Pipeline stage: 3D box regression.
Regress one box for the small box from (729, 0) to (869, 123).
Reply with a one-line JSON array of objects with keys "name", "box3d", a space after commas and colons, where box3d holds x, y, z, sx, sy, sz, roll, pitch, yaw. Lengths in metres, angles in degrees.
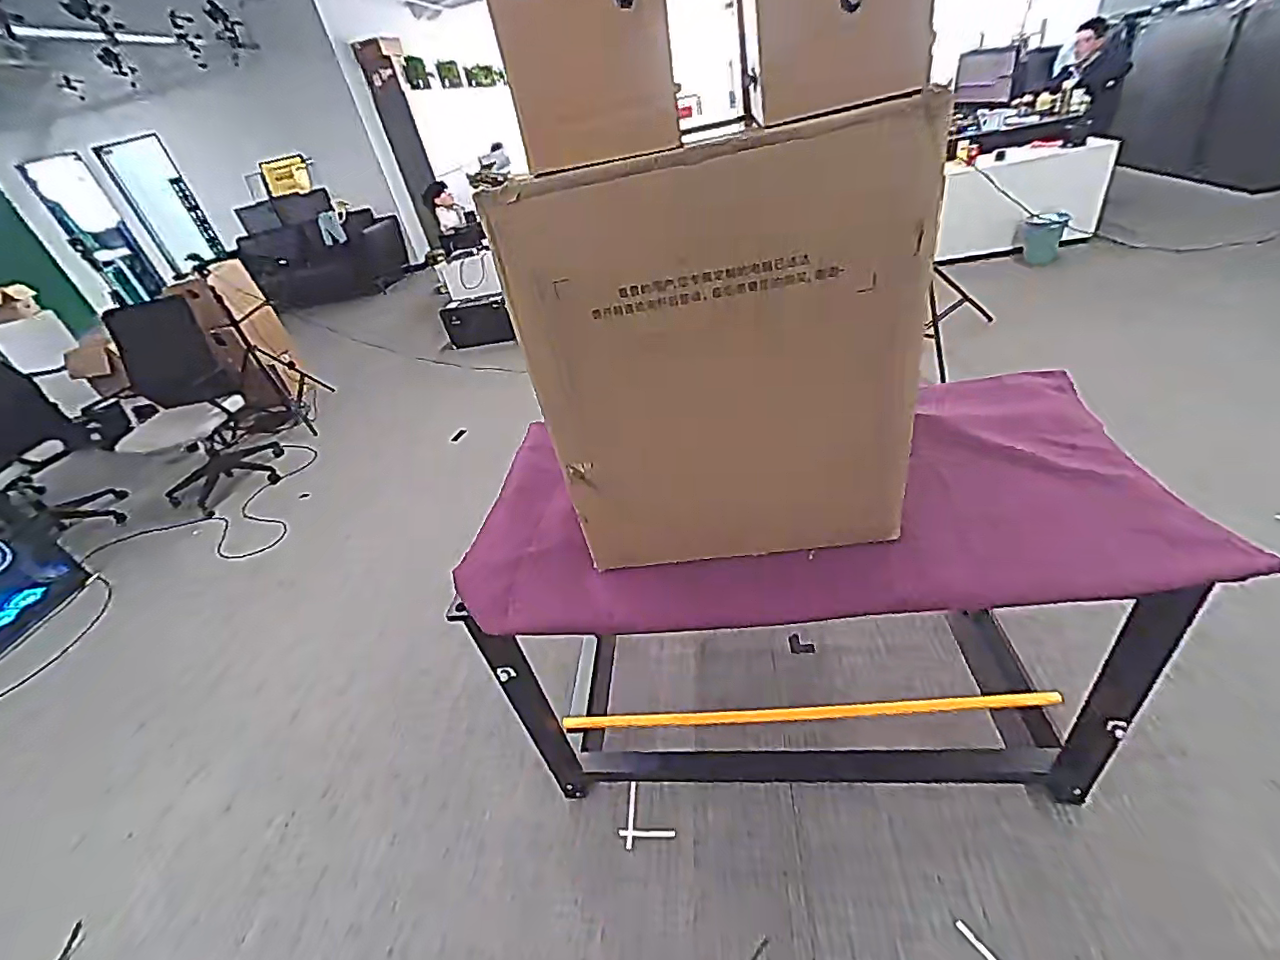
[{"name": "small box", "box3d": [0.213, -0.613, 0.754, 0.168, 0.176, 0.179, -7, 36, 11]}]
